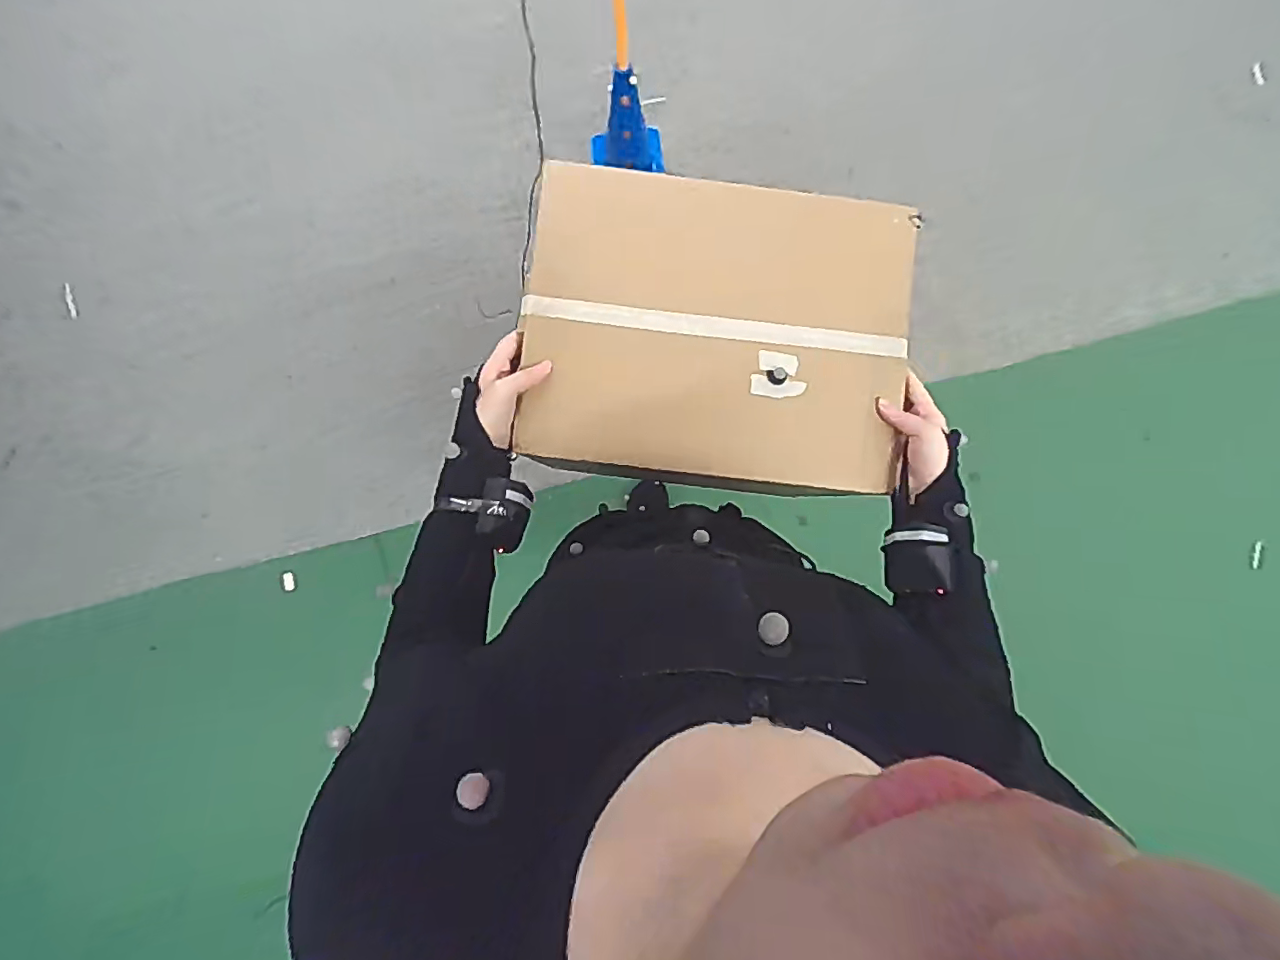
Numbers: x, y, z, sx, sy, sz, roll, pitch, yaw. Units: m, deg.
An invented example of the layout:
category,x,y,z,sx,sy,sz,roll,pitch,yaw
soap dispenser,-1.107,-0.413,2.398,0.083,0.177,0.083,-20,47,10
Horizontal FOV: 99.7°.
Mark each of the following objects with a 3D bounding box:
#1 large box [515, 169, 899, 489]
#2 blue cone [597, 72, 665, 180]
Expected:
category,x,y,z,sx,sy,sz,roll,pitch,yaw
large box,0.067,-0.158,0.725,0.408,0.320,0.320,5,88,-3
blue cone,-0.028,-0.895,1.385,0.193,0.380,0.192,-6,88,1
